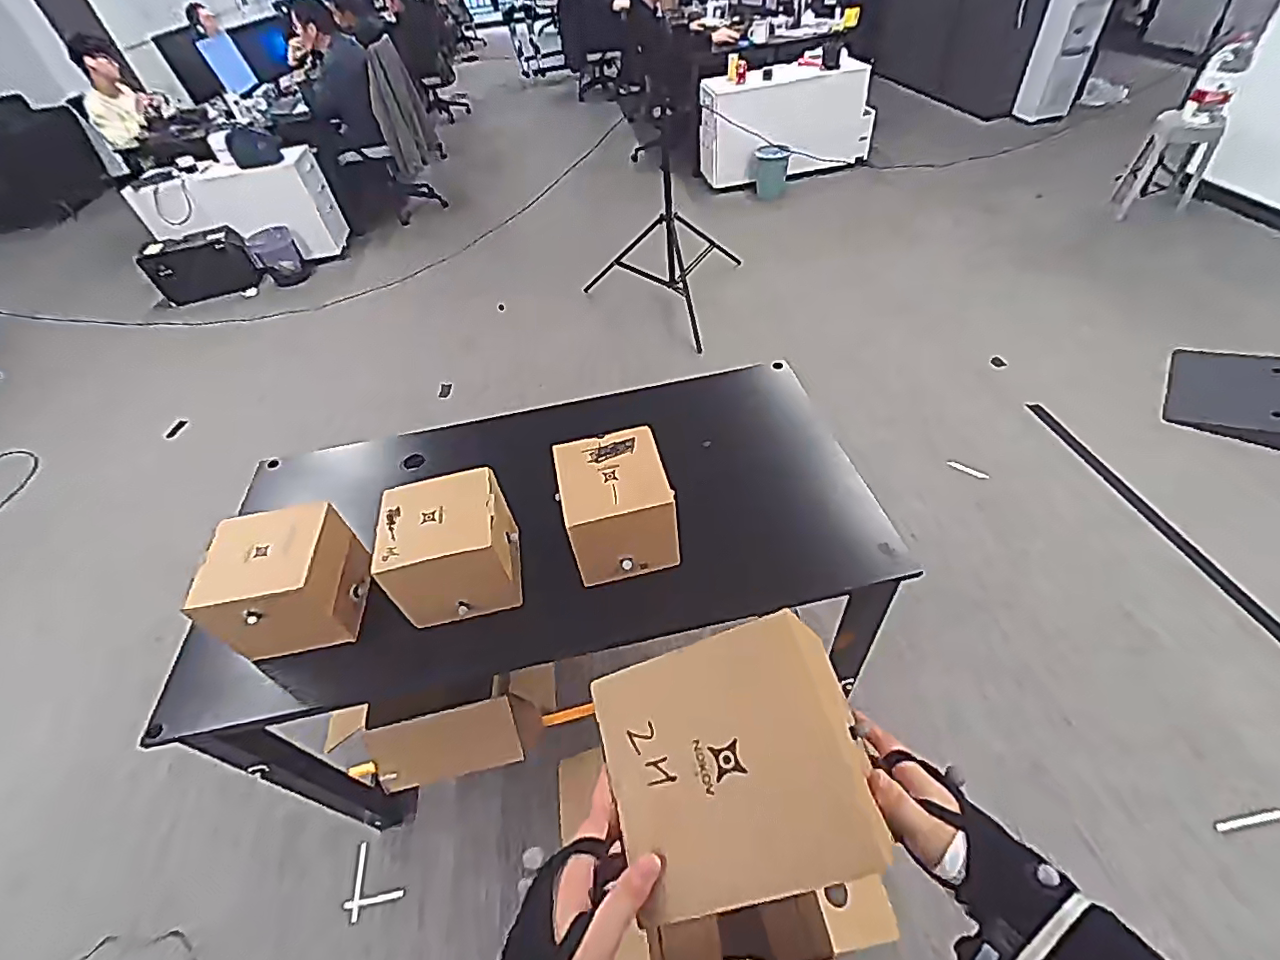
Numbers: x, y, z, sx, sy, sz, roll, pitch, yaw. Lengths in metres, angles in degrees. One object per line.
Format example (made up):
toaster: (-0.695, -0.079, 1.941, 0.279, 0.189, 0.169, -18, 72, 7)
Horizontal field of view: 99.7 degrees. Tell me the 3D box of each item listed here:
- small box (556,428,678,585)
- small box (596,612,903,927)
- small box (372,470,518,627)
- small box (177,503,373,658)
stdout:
small box: (-0.037, 0.044, 0.897, 0.168, 0.176, 0.179, -13, 47, -4)
small box: (0.091, 0.225, 0.442, 0.179, 0.176, 0.168, -25, 58, 15)
small box: (-0.299, 0.112, 0.871, 0.179, 0.176, 0.168, -12, 47, -5)
small box: (-0.557, 0.163, 0.857, 0.179, 0.176, 0.168, -10, 47, -3)
